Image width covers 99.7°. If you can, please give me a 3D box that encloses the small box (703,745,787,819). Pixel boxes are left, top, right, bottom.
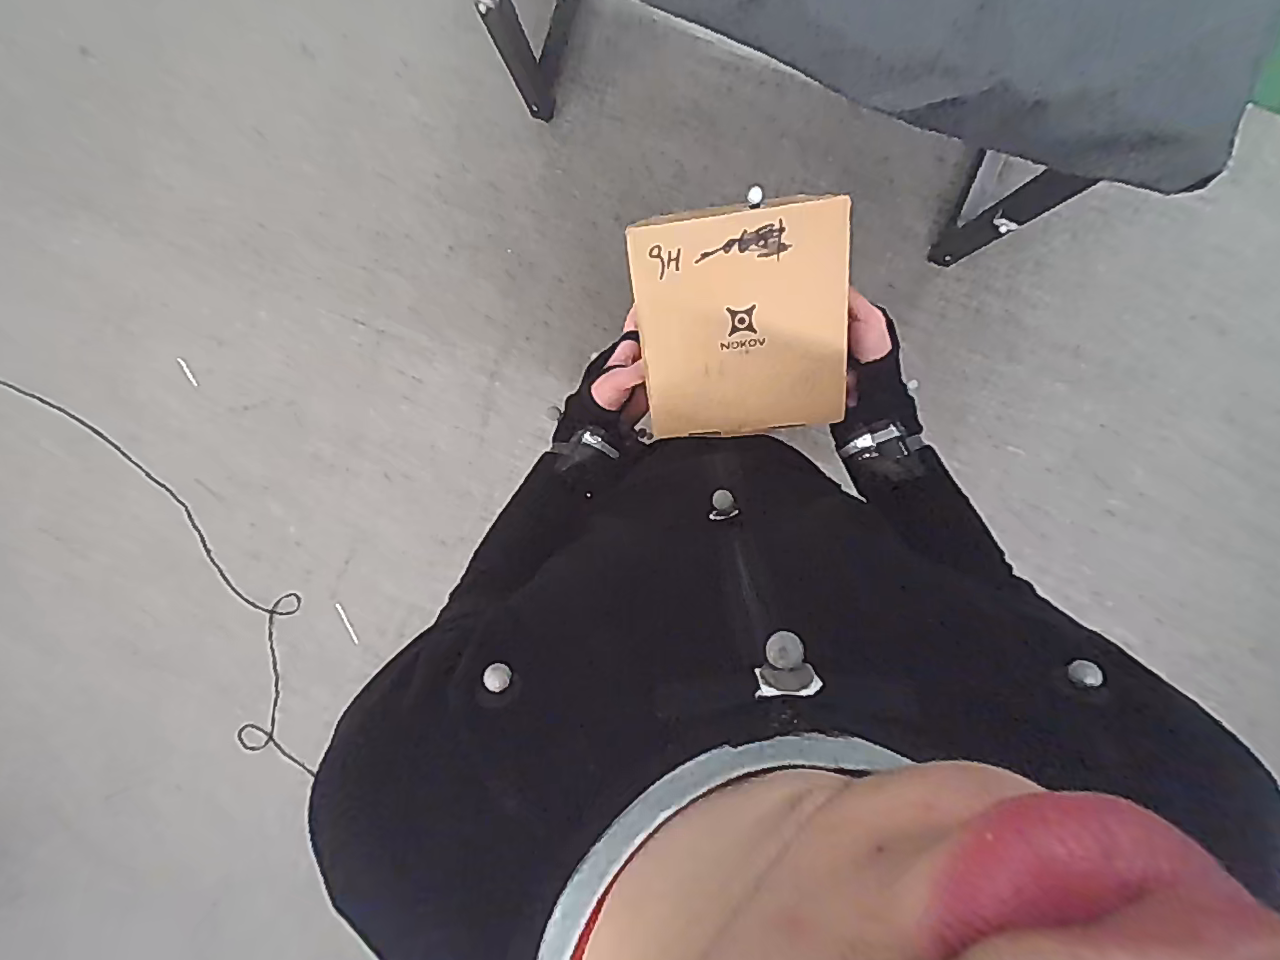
[{"bbox_3d":[0.304,0.931,1.603,0.179,0.176,0.168,34,97,-1],"label":"small box"}]

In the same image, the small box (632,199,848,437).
[{"bbox_3d":[0.090,-0.159,0.518,0.168,0.176,0.179,-5,119,7],"label":"small box"}]
